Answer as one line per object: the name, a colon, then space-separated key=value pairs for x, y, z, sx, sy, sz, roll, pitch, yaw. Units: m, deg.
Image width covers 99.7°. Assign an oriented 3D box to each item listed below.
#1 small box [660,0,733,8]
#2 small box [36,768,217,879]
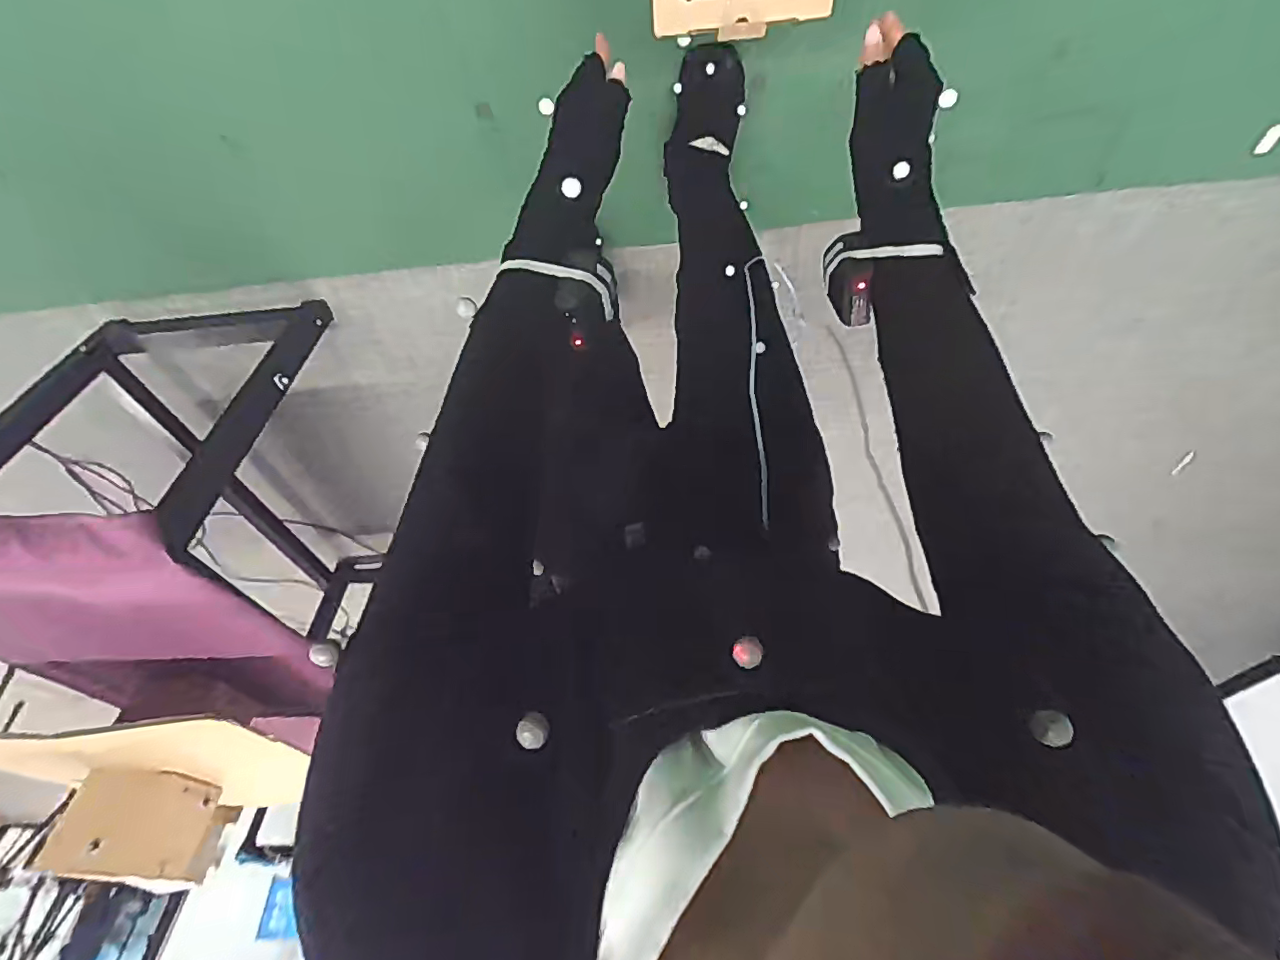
small box: x=0.095 y=-0.664 z=0.603 sx=0.168 sy=0.176 sz=0.179 roll=-3 pitch=140 yaw=5
small box: x=-1.000 y=0.687 z=1.082 sx=0.179 sy=0.176 sz=0.168 roll=0 pitch=140 yaw=5
